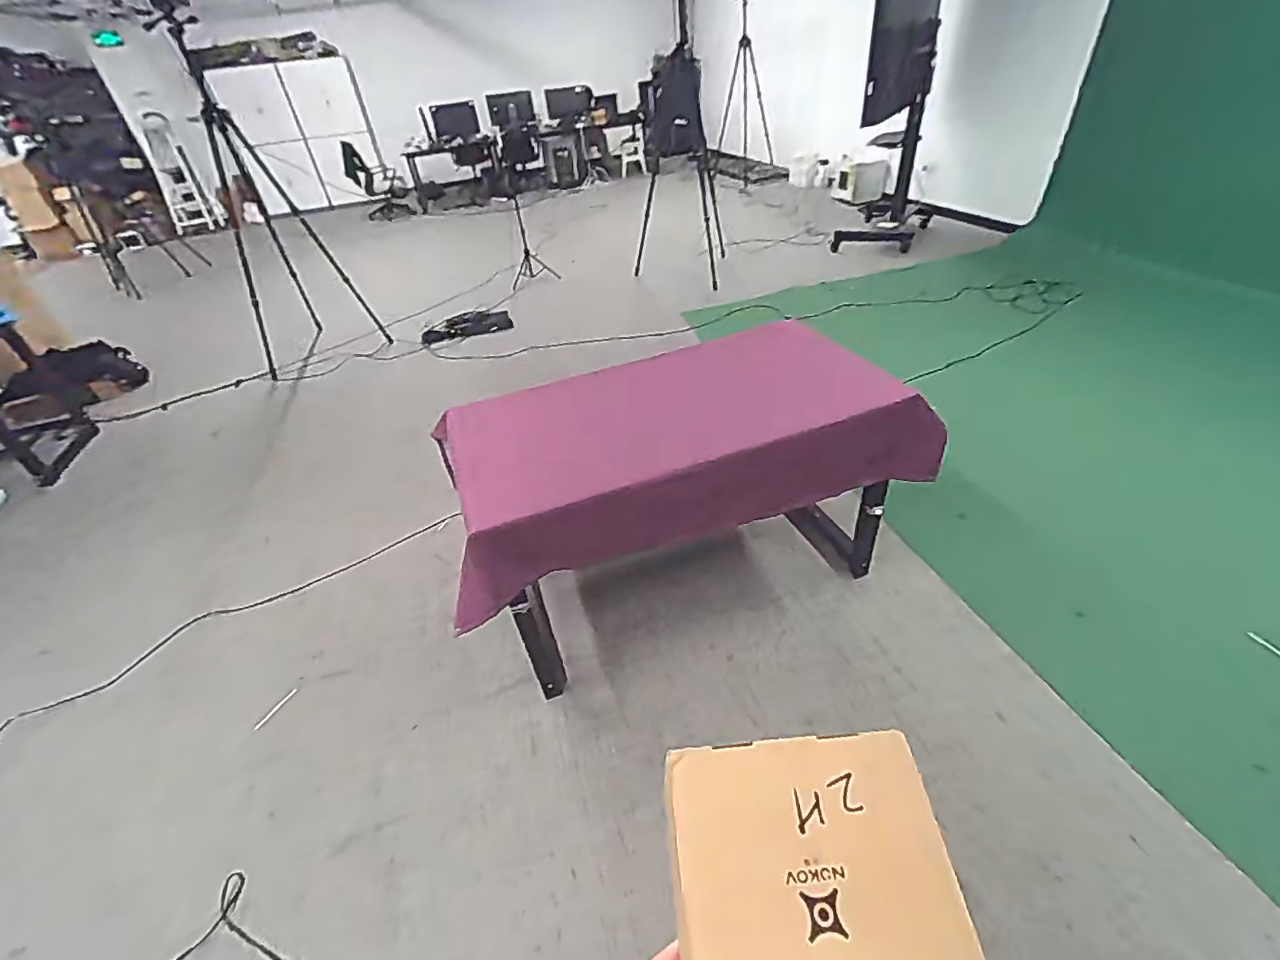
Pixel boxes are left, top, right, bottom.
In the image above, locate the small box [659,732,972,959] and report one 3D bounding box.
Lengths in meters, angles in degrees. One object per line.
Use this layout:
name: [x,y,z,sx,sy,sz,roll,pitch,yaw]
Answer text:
small box: [0.104,0.296,0.380,0.168,0.176,0.179,-4,51,-2]
